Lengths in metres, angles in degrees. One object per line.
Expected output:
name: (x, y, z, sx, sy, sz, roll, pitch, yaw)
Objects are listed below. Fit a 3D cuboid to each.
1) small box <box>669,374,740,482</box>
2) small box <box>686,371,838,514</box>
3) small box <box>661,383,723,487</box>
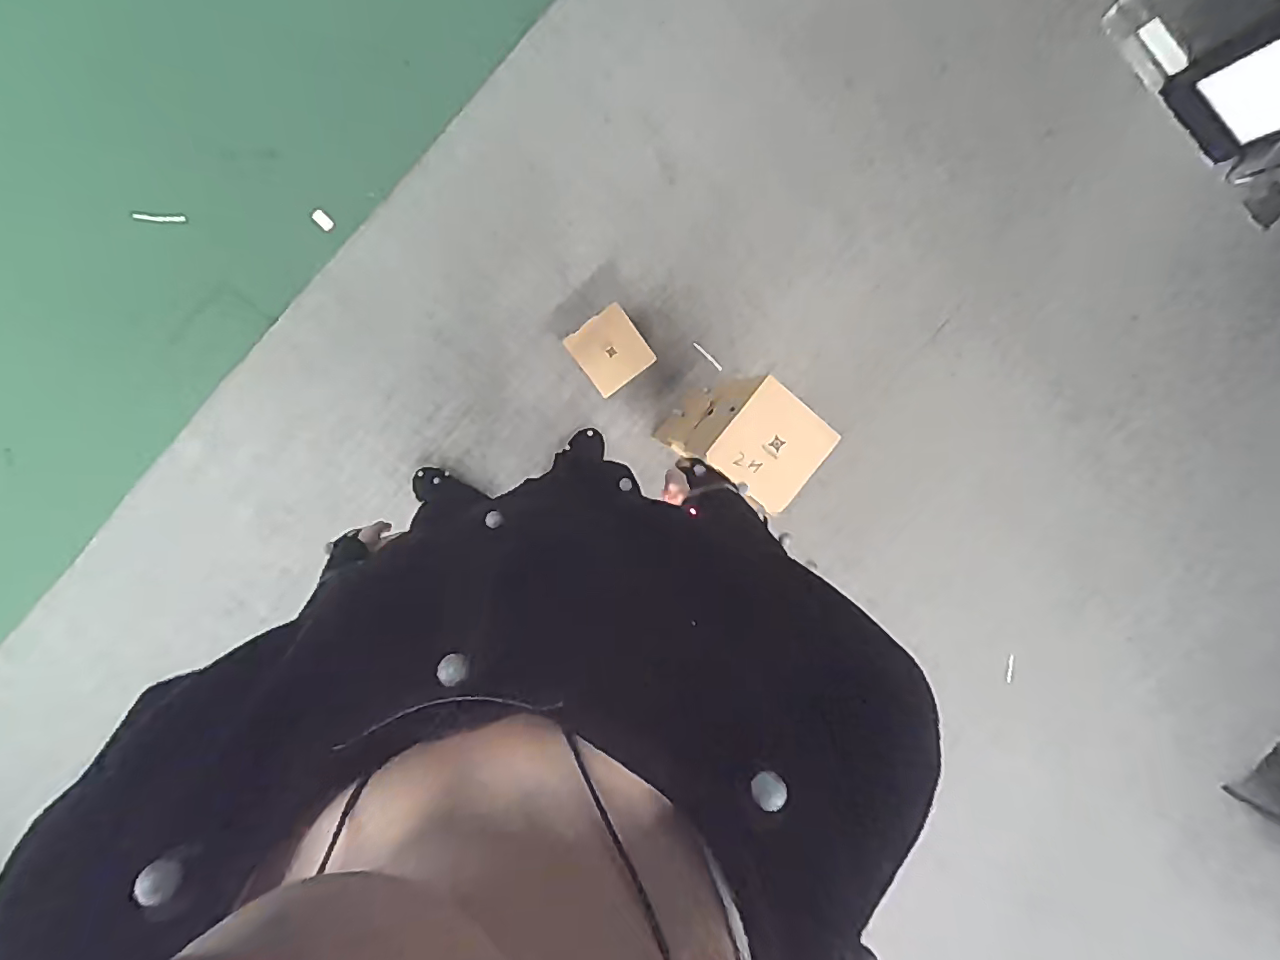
small box: (0.181, -0.096, 1.115, 0.179, 0.176, 0.168, 40, 92, -11)
small box: (0.202, -0.071, 0.953, 0.168, 0.176, 0.179, 39, 92, -10)
small box: (0.165, -0.109, 1.279, 0.168, 0.176, 0.179, 39, 93, -11)
